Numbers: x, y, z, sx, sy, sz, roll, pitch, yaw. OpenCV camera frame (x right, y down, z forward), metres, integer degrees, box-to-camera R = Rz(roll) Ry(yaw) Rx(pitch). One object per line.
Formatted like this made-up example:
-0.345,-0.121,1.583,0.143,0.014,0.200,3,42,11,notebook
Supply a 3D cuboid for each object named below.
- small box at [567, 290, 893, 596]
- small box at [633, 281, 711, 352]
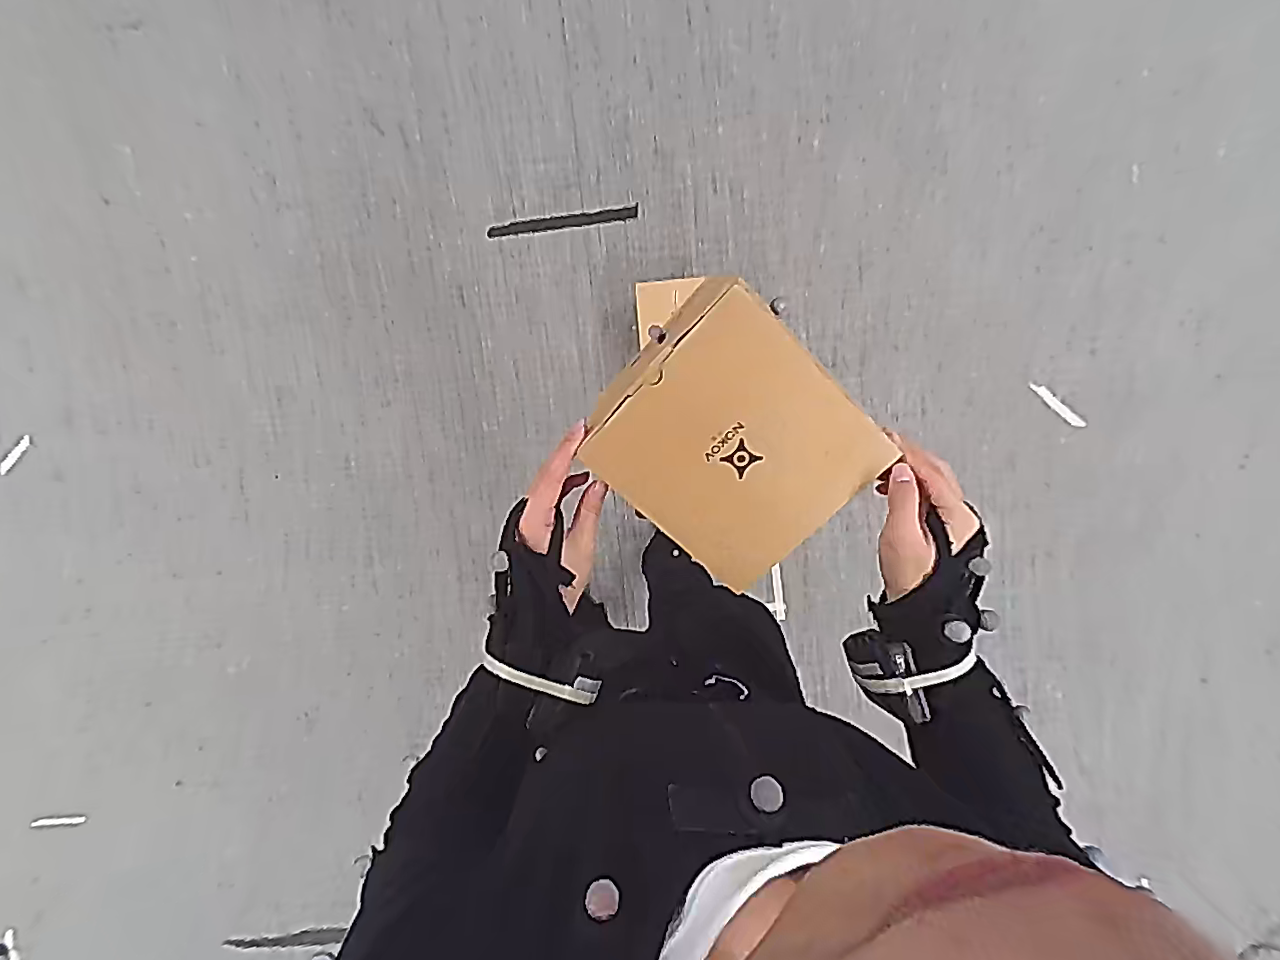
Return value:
0.066,-0.044,0.459,0.179,0.176,0.168,40,107,-13,small box
0.076,-0.333,1.216,0.168,0.176,0.179,-5,95,2,small box
